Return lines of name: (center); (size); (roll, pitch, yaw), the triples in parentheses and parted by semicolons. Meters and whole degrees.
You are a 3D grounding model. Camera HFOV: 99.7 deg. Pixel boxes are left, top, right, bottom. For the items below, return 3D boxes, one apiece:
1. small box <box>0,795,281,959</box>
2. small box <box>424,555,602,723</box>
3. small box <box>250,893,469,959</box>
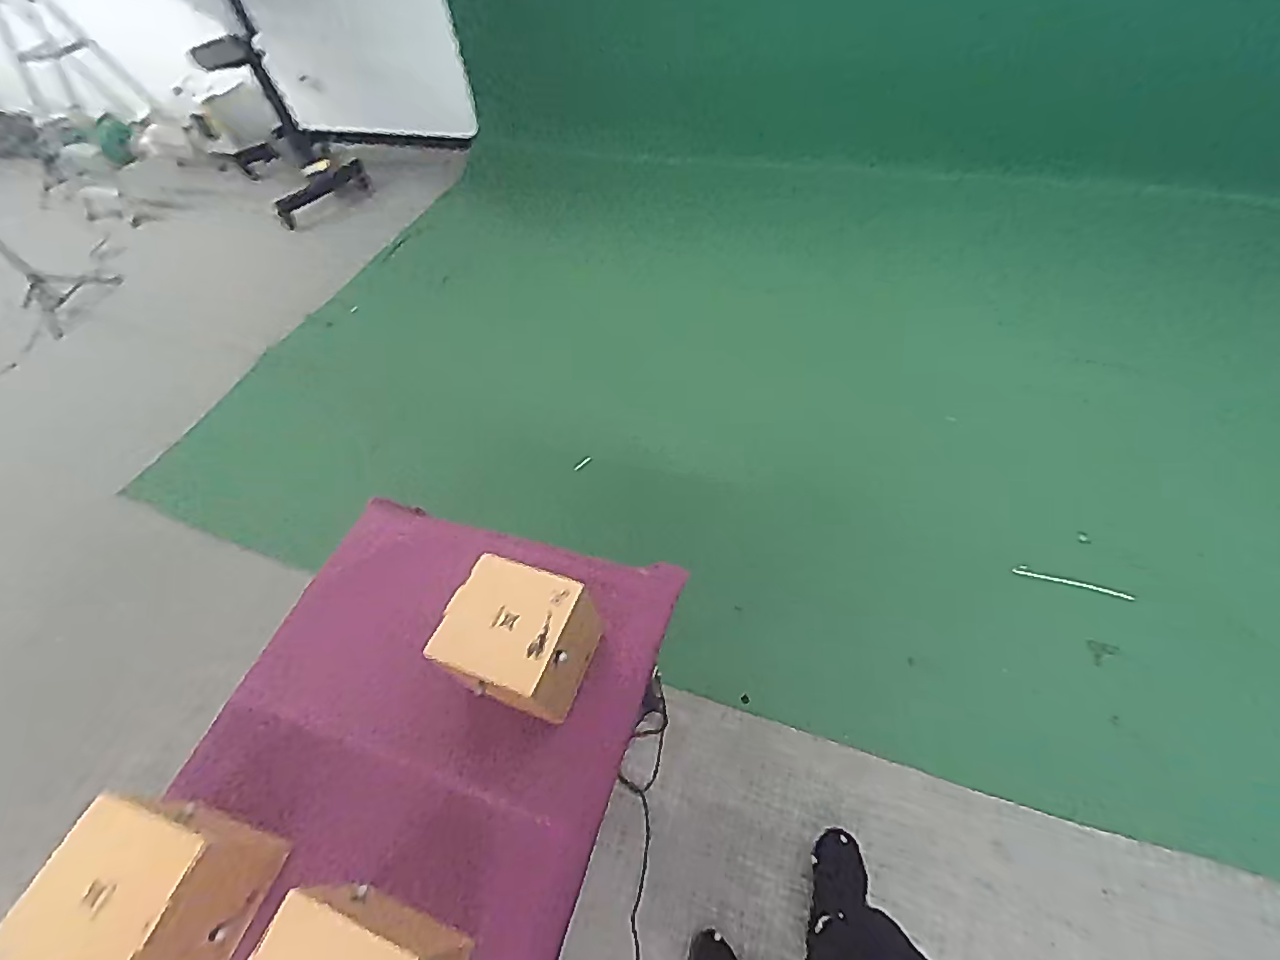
small box: (-0.599, 0.511, 0.657); (0.179, 0.176, 0.168); (12, 56, 13)
small box: (-0.176, 0.241, 0.808); (0.179, 0.176, 0.168); (14, 58, 18)
small box: (-0.319, 0.575, 0.580); (0.179, 0.176, 0.168); (13, 57, 16)
